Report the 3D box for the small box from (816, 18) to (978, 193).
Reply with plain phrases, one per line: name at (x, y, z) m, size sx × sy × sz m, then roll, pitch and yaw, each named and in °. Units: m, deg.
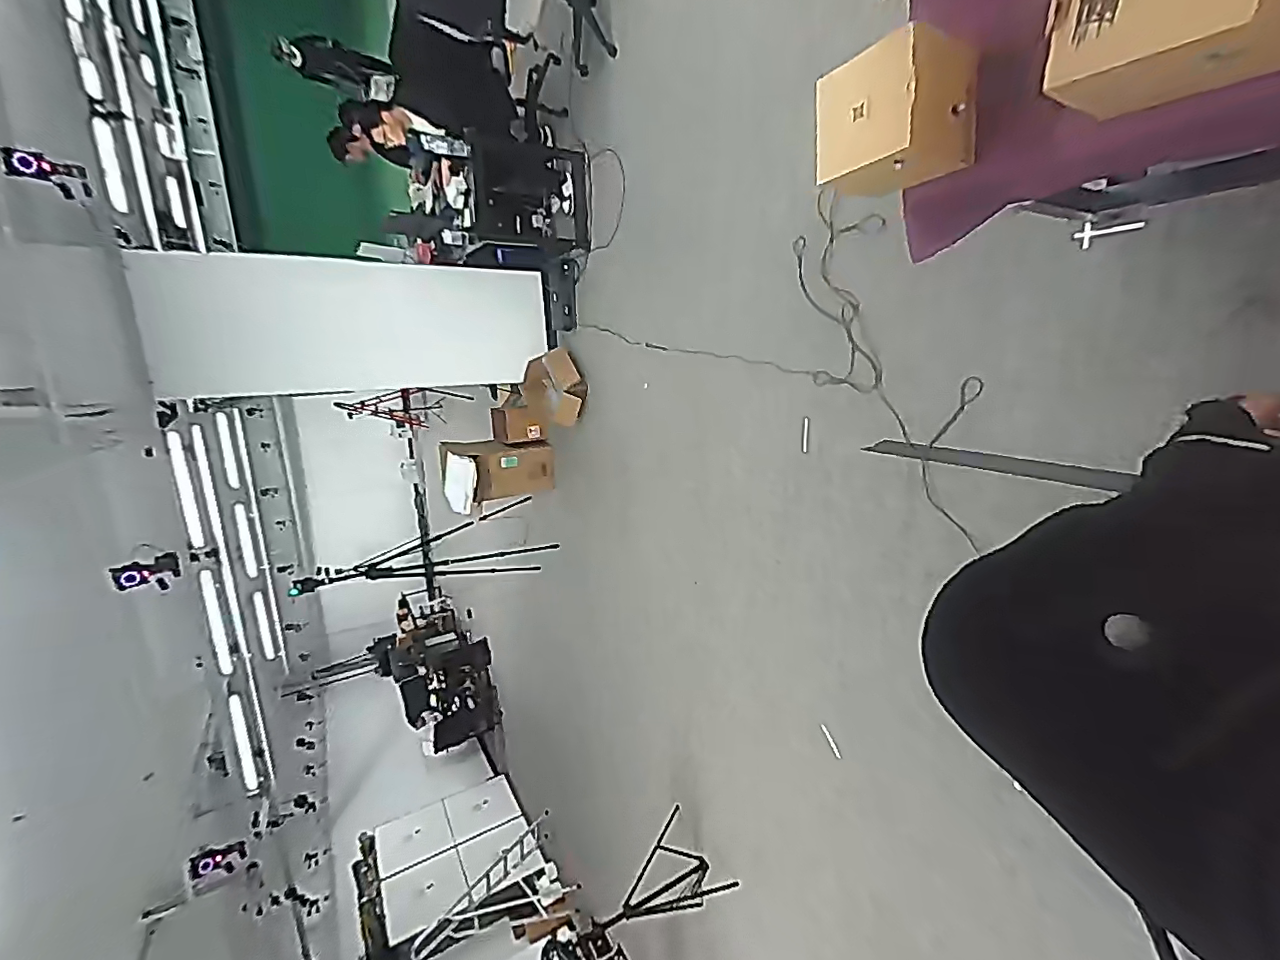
small box at (0.411, -0.587, 0.879) m, size 0.179 × 0.176 × 0.168 m, roll 13°, pitch 109°, yaw 57°
